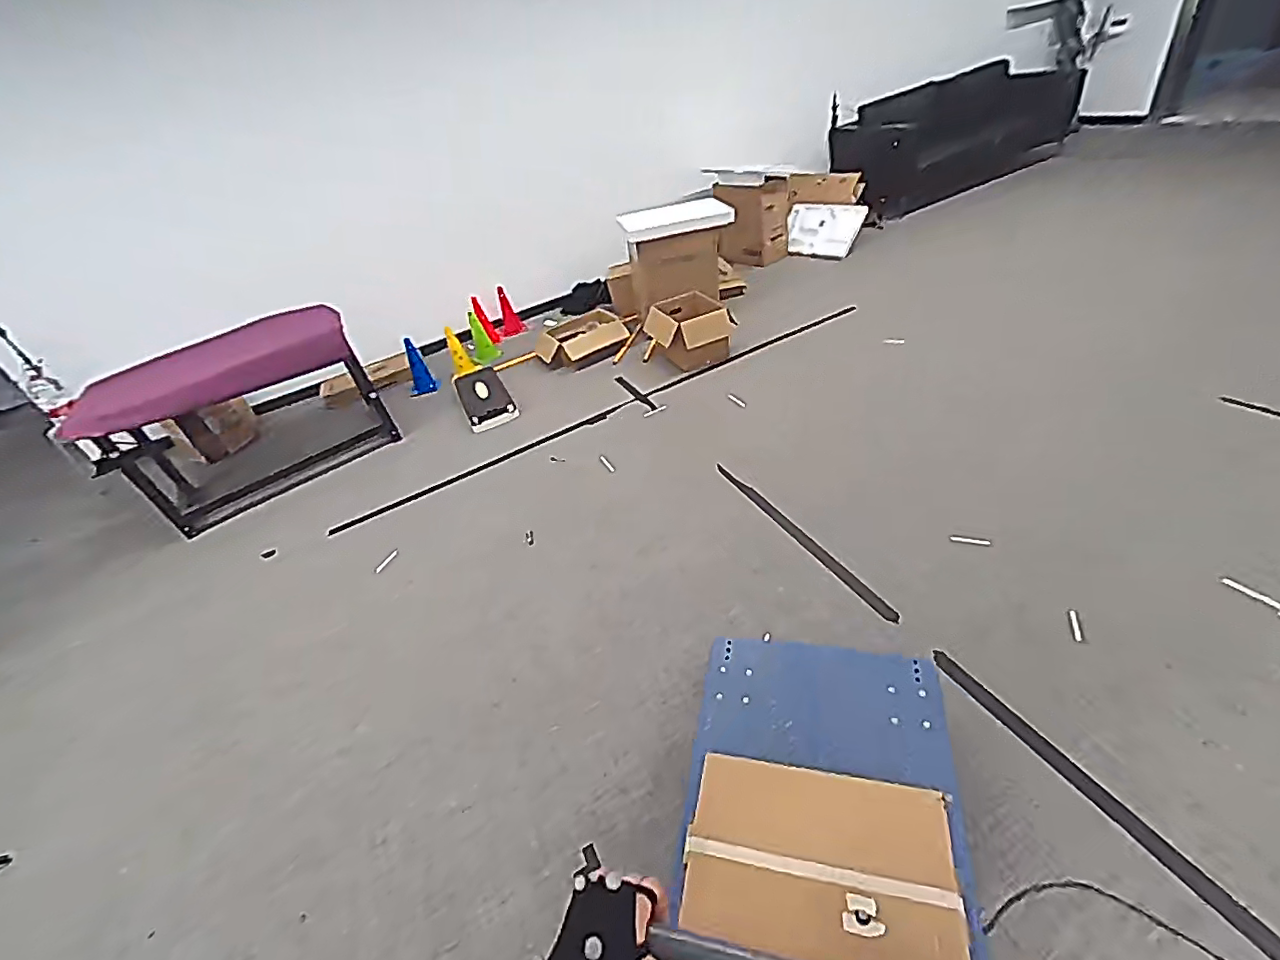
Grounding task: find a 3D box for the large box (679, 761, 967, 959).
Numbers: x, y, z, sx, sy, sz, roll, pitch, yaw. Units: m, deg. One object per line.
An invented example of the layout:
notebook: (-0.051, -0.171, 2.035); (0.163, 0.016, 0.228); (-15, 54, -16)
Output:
large box: (0.302, 0.741, 0.939); (0.408, 0.320, 0.320); (1, 40, 18)
